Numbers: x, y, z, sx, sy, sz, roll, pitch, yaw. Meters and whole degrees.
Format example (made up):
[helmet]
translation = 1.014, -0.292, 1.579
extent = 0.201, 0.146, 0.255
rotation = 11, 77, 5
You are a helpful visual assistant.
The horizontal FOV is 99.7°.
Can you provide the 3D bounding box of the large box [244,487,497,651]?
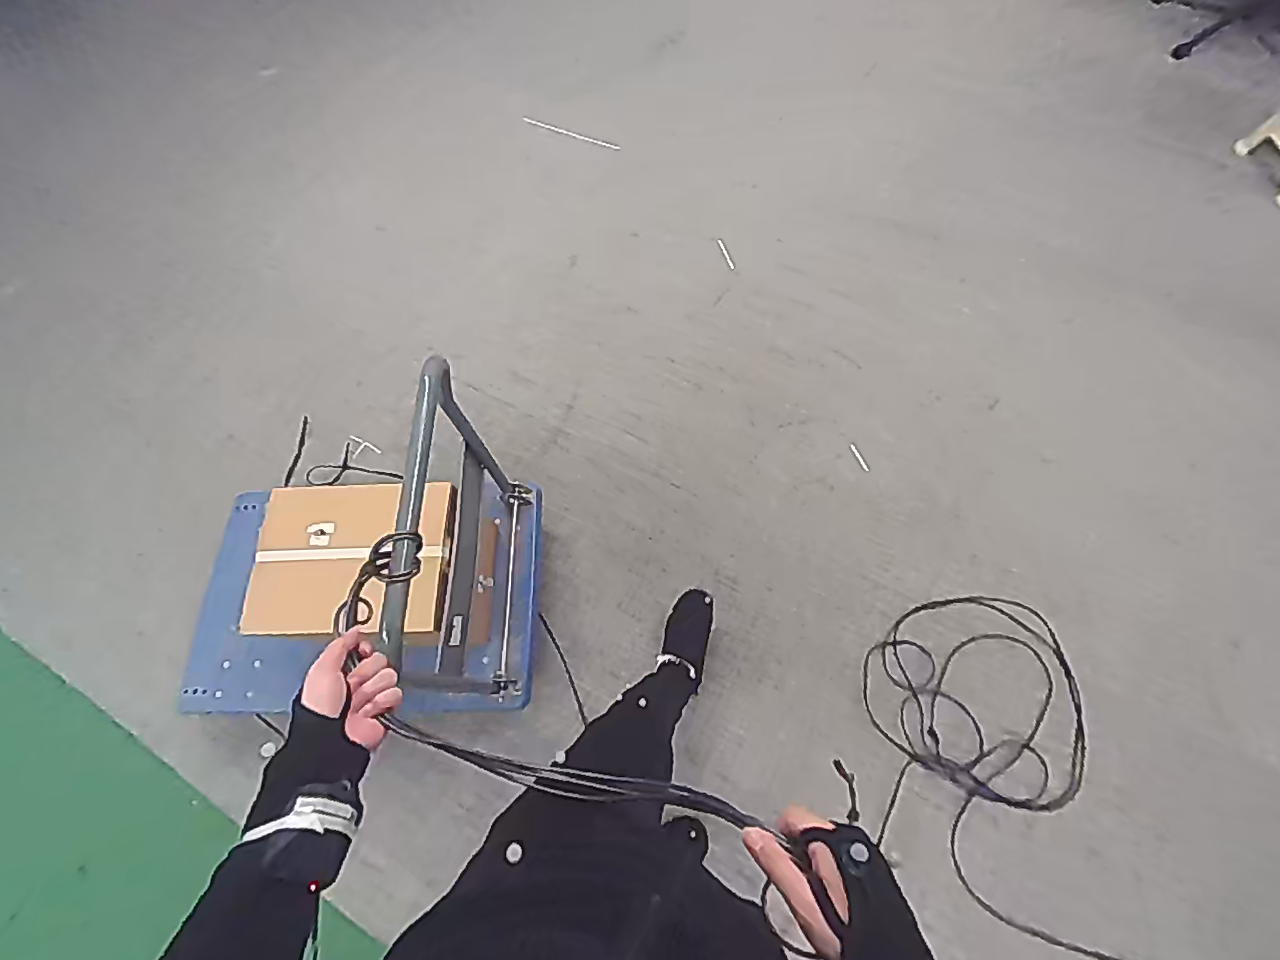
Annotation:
[large box]
translation = -0.578, 0.221, 1.246
extent = 0.408, 0.320, 0.320
rotation = -3, 67, 4
